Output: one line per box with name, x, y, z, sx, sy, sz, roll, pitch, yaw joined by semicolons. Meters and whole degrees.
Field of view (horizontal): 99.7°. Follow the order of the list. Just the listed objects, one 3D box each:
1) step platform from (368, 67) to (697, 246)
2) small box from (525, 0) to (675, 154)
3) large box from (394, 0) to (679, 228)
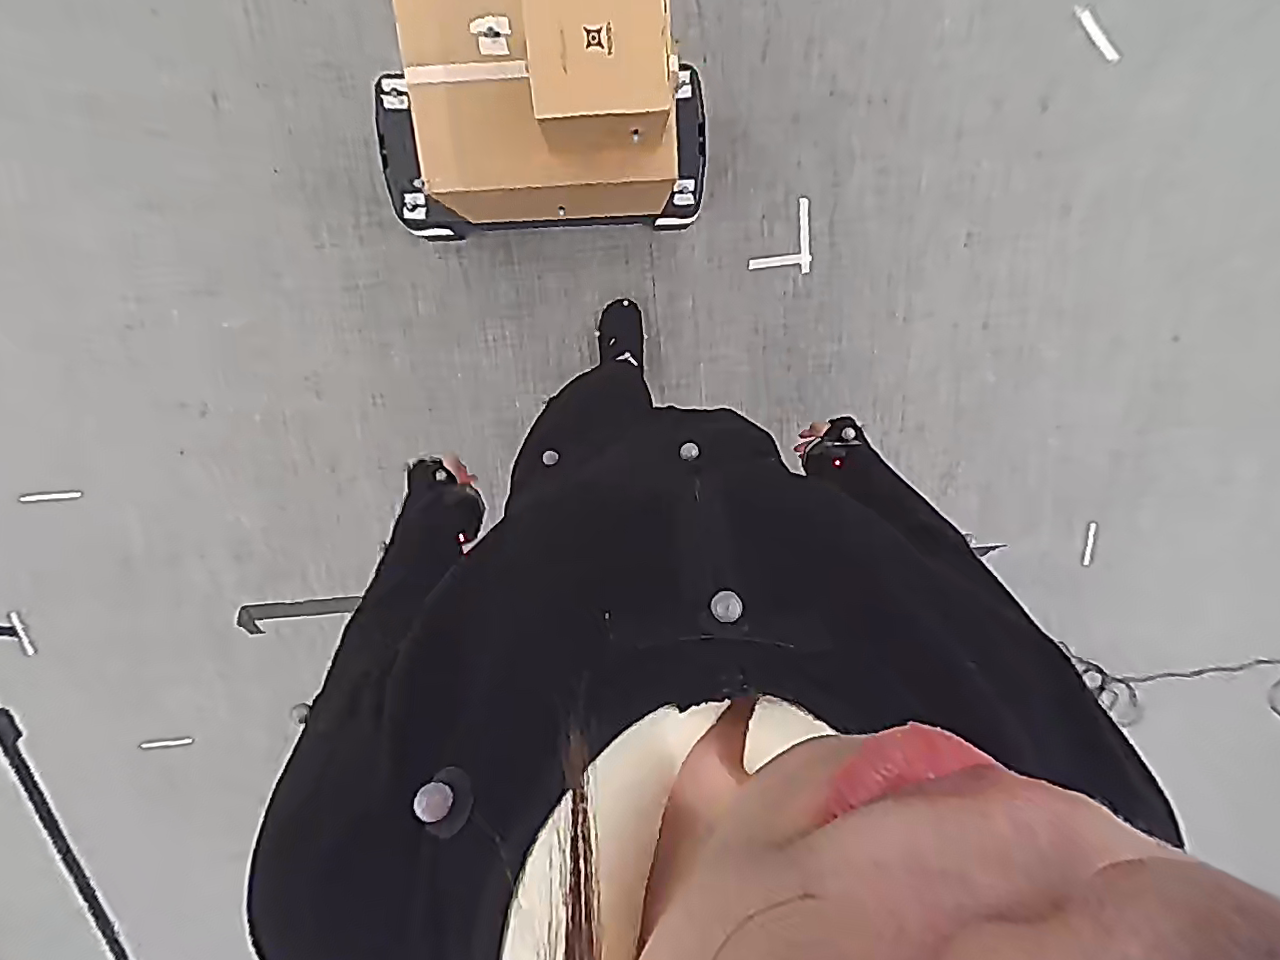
step platform;-0.217;-0.690;1.182;0.684;0.204;0.286;1;106;-3
small box;-0.052;-0.555;0.726;0.179;0.176;0.168;-4;107;-1
large box;-0.151;-0.644;0.950;0.408;0.320;0.320;-5;106;-1
